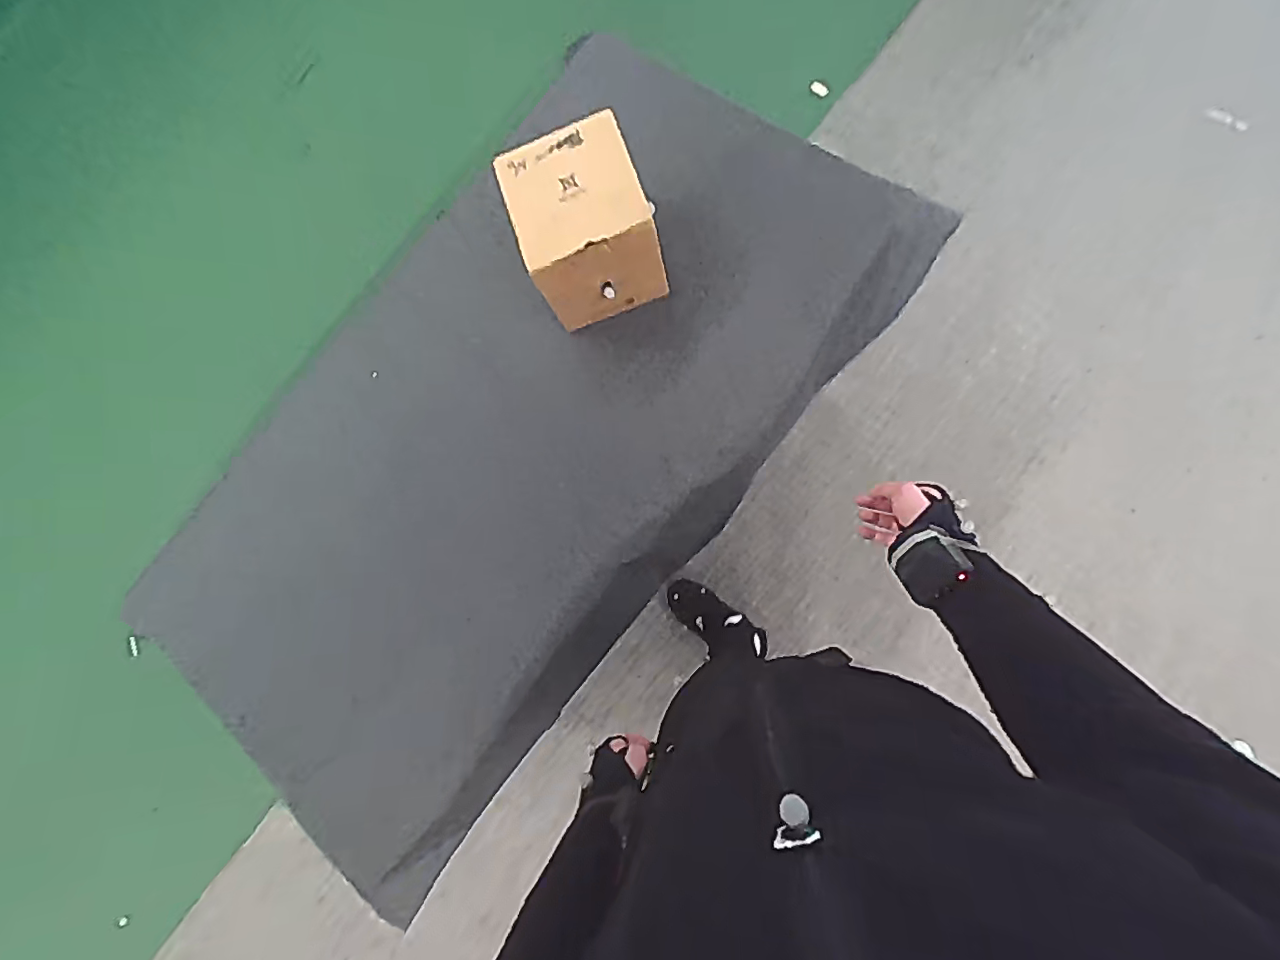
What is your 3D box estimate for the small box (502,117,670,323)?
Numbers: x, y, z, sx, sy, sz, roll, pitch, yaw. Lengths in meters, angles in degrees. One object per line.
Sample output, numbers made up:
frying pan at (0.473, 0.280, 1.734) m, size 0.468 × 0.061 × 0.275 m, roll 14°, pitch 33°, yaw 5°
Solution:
small box at (-0.065, -0.340, 0.750) m, size 0.168 × 0.176 × 0.179 m, roll -19°, pitch 78°, yaw 5°
